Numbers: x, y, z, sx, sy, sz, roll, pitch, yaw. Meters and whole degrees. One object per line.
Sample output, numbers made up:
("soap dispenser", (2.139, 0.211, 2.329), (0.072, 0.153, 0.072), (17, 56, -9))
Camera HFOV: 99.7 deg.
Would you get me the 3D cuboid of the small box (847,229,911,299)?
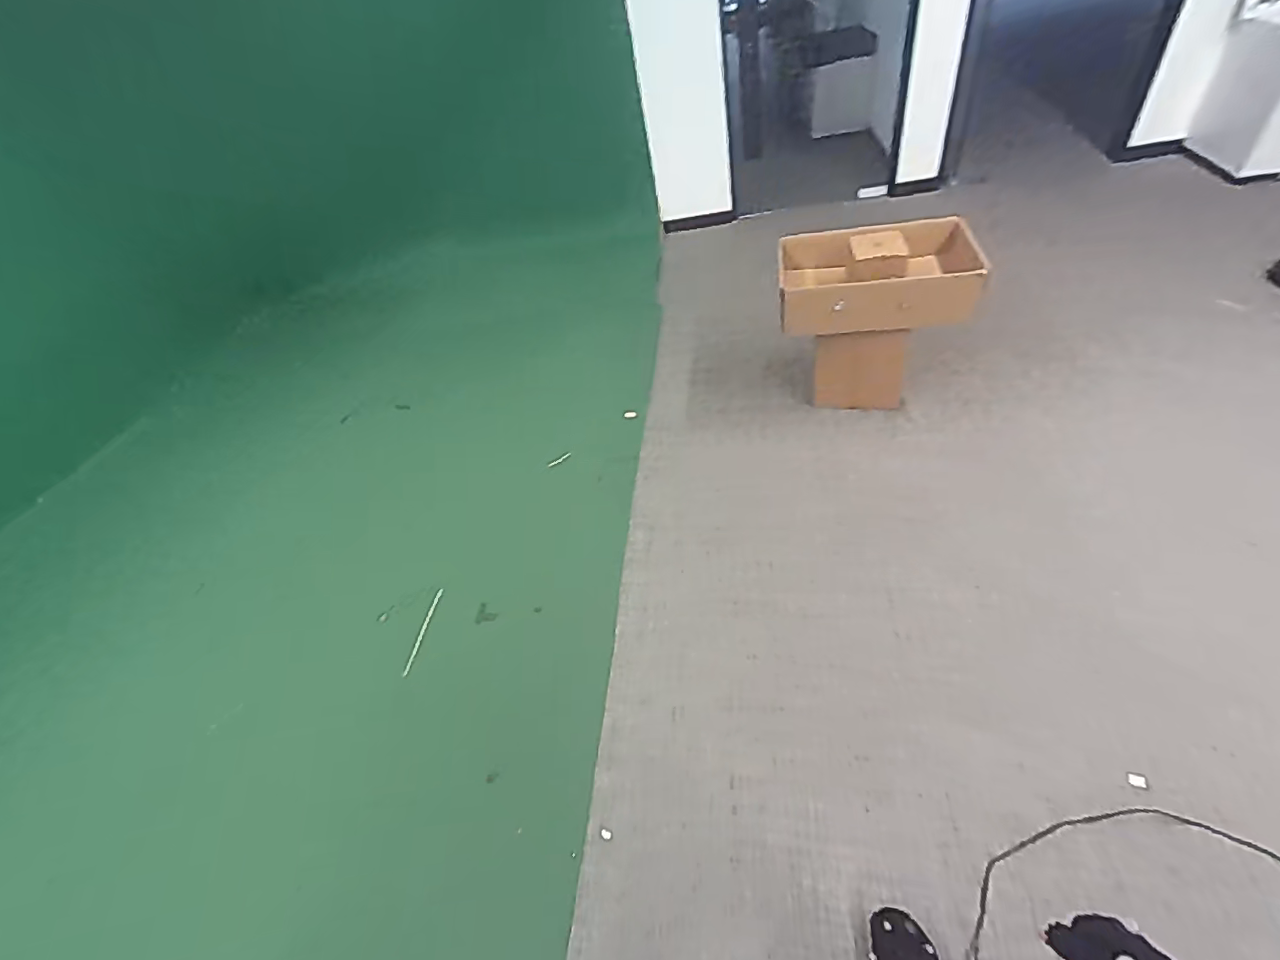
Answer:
("small box", (0.814, -0.732, 1.853), (0.168, 0.176, 0.179), (-2, 45, 11))
